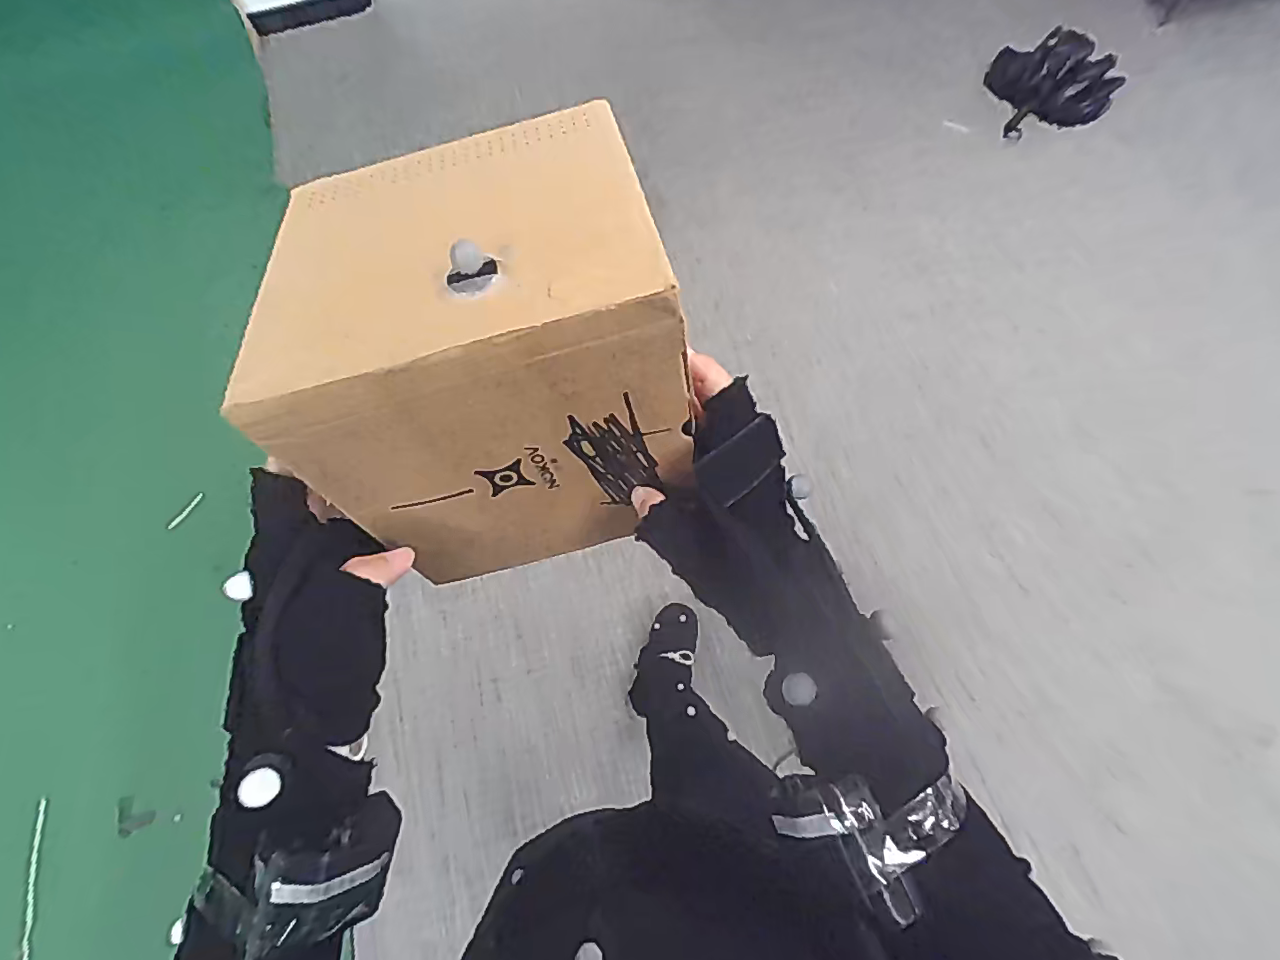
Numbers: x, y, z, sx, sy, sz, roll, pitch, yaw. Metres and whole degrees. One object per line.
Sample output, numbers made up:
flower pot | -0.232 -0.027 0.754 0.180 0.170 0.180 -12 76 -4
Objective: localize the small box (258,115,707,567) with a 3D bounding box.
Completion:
small box | -0.069 -0.075 0.314 0.179 0.168 0.176 -14 56 2
